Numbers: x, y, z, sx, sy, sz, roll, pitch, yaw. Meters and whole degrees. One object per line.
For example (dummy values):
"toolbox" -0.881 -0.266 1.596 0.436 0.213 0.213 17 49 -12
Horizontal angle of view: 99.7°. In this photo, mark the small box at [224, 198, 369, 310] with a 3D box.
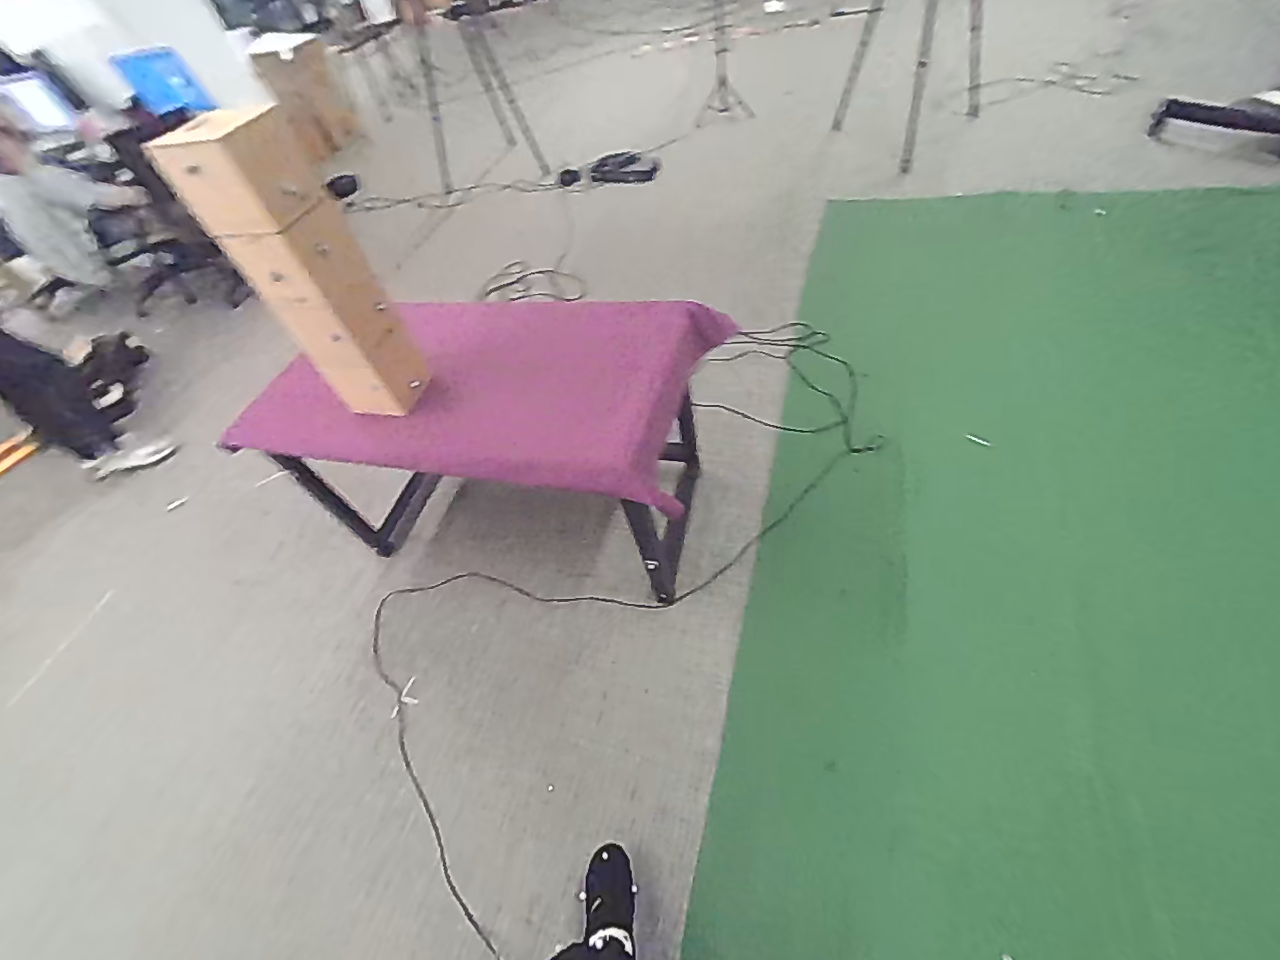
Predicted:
"small box" -0.738 -0.490 1.186 0.168 0.176 0.179 5 53 16

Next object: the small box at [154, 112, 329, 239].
"small box" -0.765 -0.590 1.058 0.179 0.176 0.168 6 52 15

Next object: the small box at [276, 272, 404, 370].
"small box" -0.712 -0.383 1.307 0.179 0.176 0.168 6 53 17
